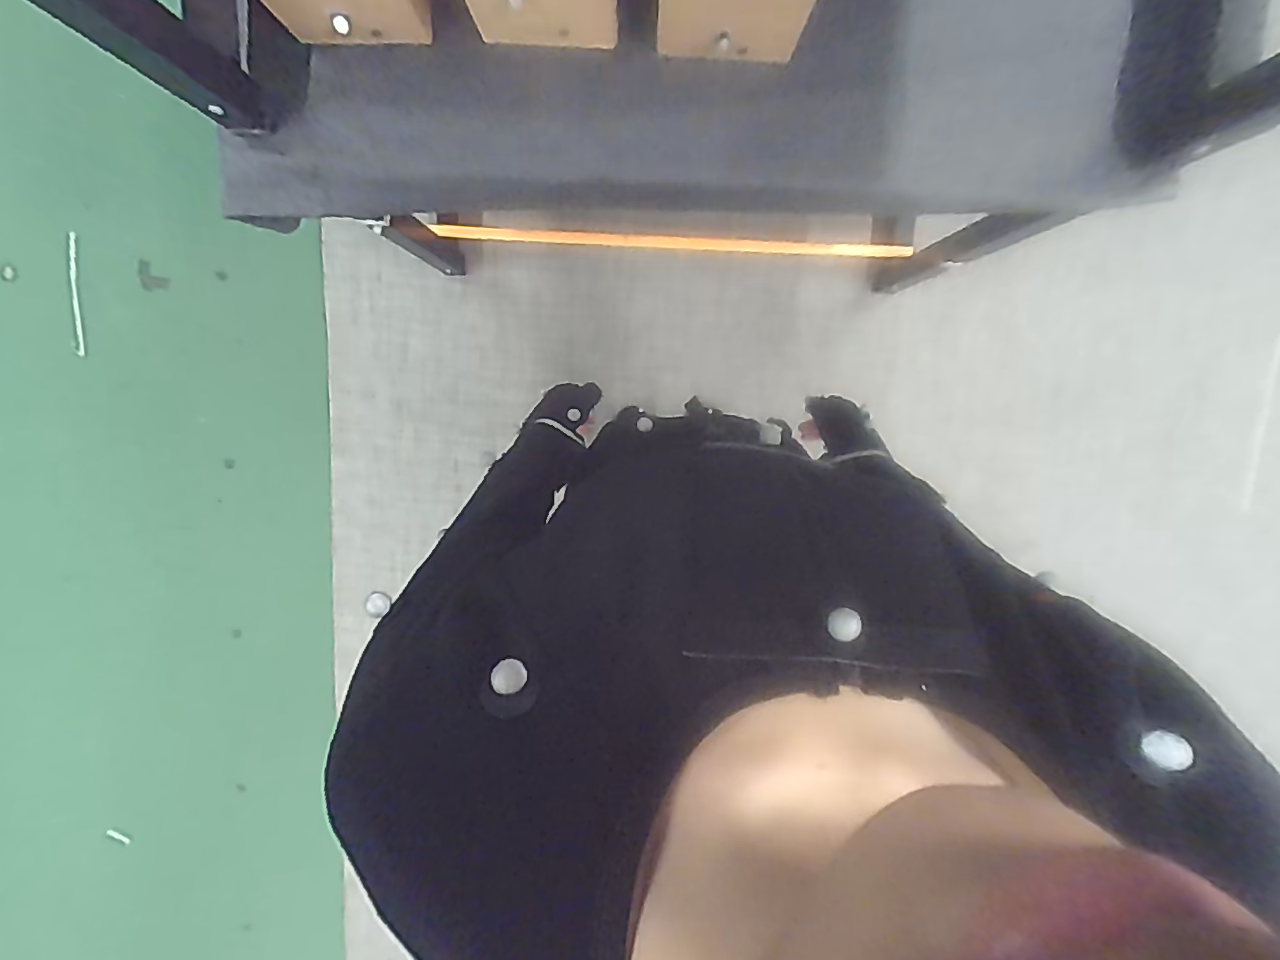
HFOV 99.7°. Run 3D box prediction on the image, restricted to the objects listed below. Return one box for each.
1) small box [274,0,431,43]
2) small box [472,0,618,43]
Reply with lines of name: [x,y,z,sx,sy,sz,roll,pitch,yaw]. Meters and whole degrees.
small box: [-0.334,-0.613,0.570,0.168,0.176,0.179,0,99,0]
small box: [-0.107,-0.609,0.572,0.168,0.176,0.179,3,98,-1]
